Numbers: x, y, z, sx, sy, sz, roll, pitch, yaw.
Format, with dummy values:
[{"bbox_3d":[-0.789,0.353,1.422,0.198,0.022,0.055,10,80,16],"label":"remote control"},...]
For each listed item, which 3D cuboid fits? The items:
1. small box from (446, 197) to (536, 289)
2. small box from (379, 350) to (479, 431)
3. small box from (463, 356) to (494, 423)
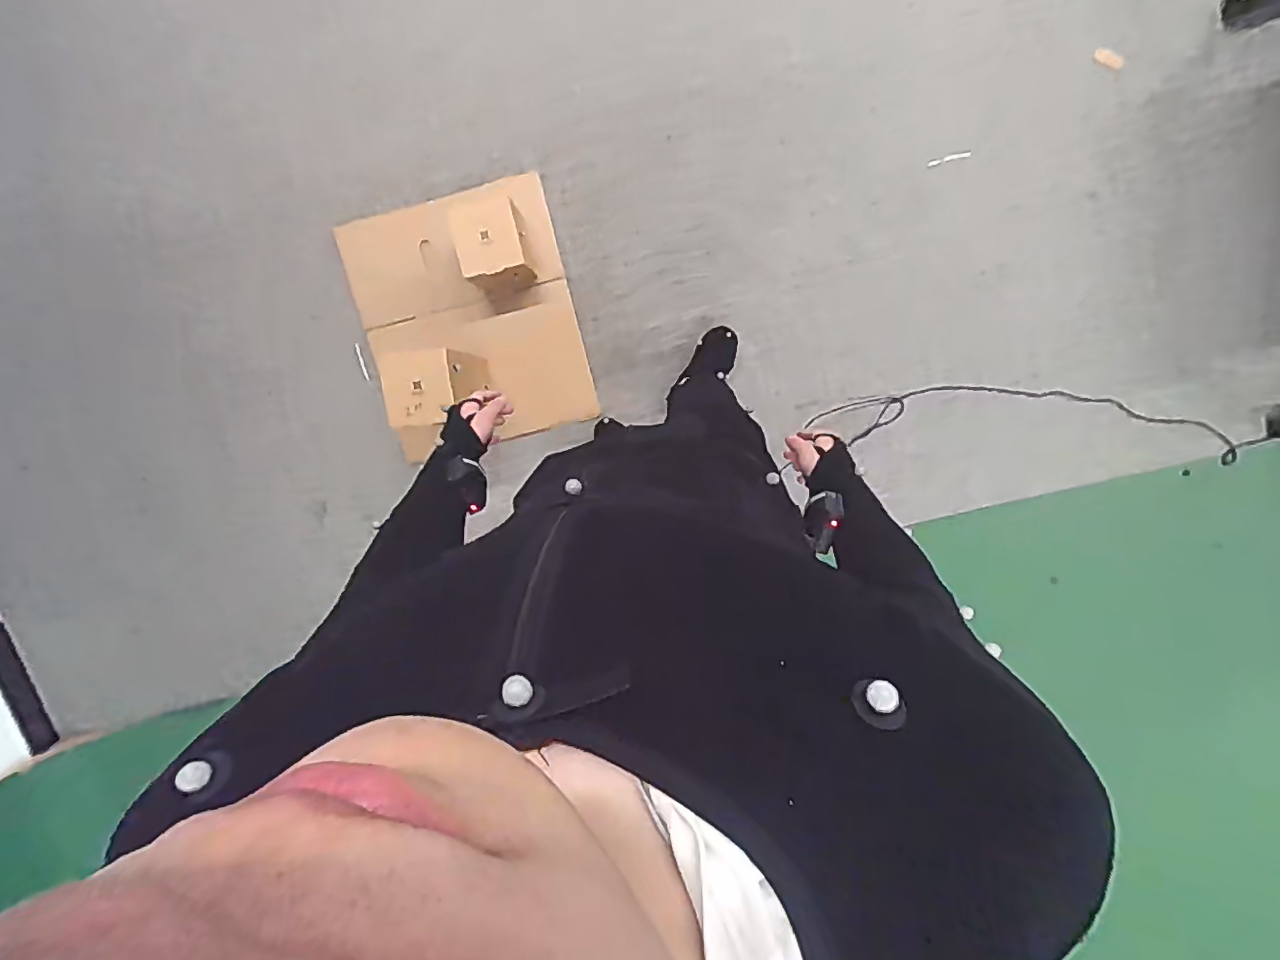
[{"bbox_3d":[-0.389,-0.622,1.446,0.168,0.176,0.179,-13,99,3],"label":"small box"},{"bbox_3d":[-0.516,-0.221,1.343,0.168,0.176,0.179,-6,99,2],"label":"small box"},{"bbox_3d":[-0.519,-0.243,1.508,0.168,0.176,0.179,-6,99,2],"label":"small box"}]
